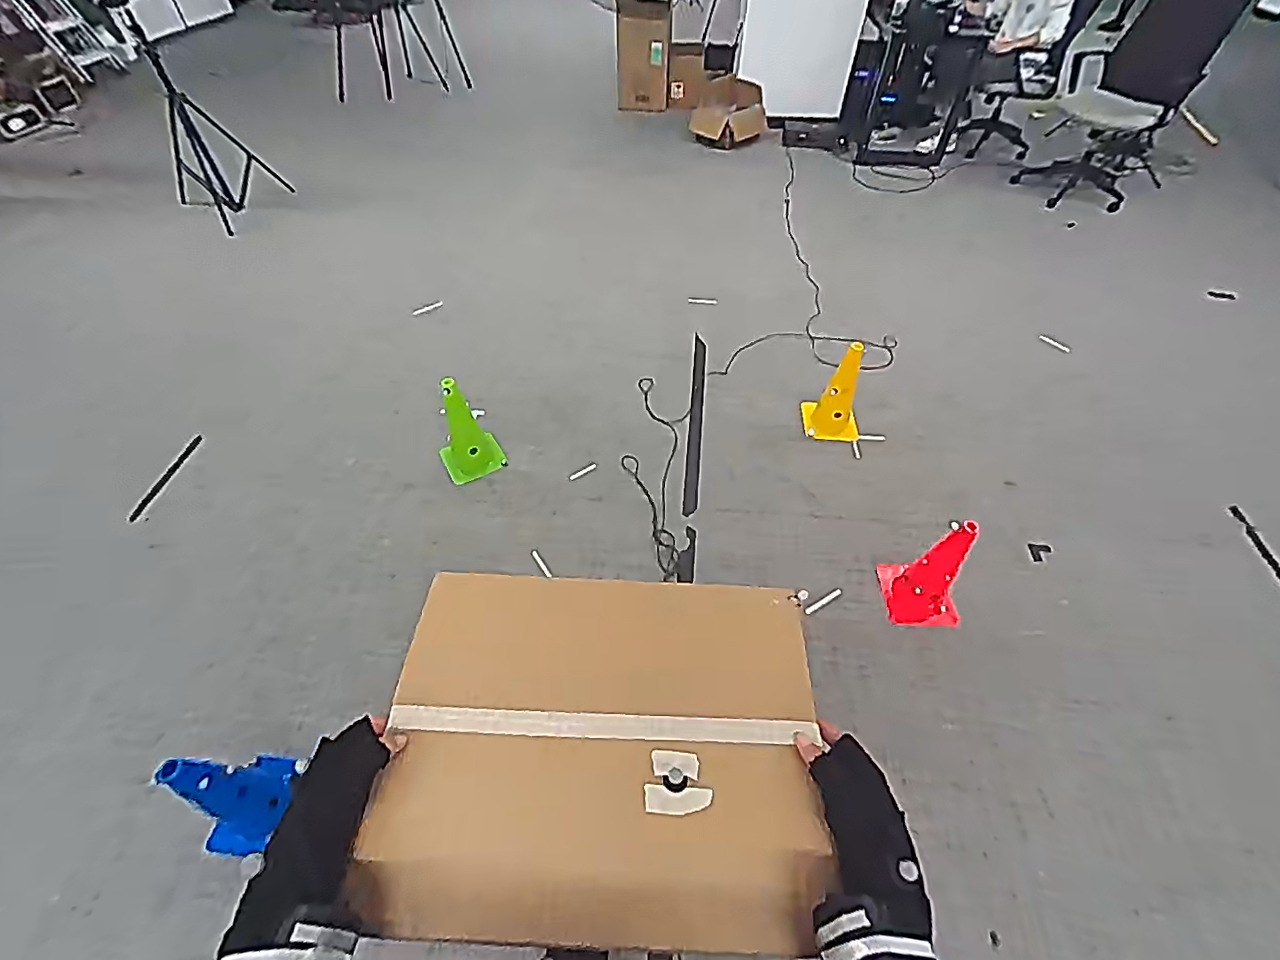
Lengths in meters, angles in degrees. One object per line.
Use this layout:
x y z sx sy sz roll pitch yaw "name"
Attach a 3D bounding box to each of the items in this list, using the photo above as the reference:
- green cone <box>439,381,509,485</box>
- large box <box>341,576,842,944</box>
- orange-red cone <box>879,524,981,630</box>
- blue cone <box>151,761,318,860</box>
-0.604 -0.189 1.836 0.202 0.368 0.200 -26 54 -19 "green cone"
-0.040 0.330 0.630 0.408 0.320 0.320 3 50 0 "large box"
0.832 0.238 1.489 0.198 0.360 0.199 3 48 1 "orange-red cone"
-0.871 0.659 1.135 0.192 0.380 0.193 7 50 6 "blue cone"
